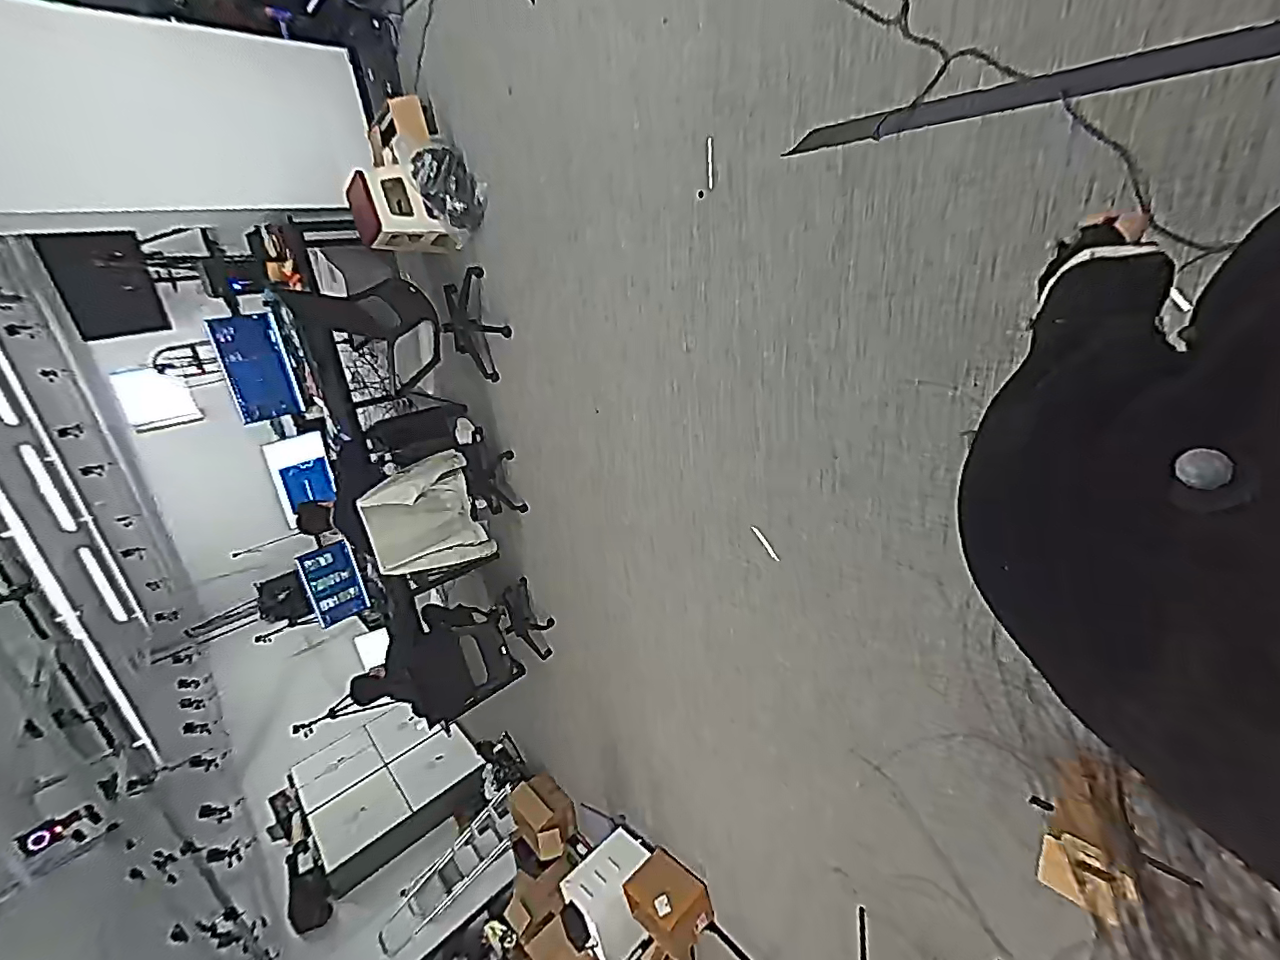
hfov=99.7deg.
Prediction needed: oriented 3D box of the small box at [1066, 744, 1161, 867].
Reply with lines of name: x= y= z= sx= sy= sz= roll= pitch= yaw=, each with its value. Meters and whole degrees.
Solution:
small box: x=1.211 y=0.827 z=1.394 sx=0.168 sy=0.176 sz=0.179 roll=14 pitch=121 yaw=48

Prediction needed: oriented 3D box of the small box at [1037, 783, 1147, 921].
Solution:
small box: x=1.087 y=0.881 z=1.300 sx=0.168 sy=0.176 sz=0.179 roll=15 pitch=121 yaw=47
